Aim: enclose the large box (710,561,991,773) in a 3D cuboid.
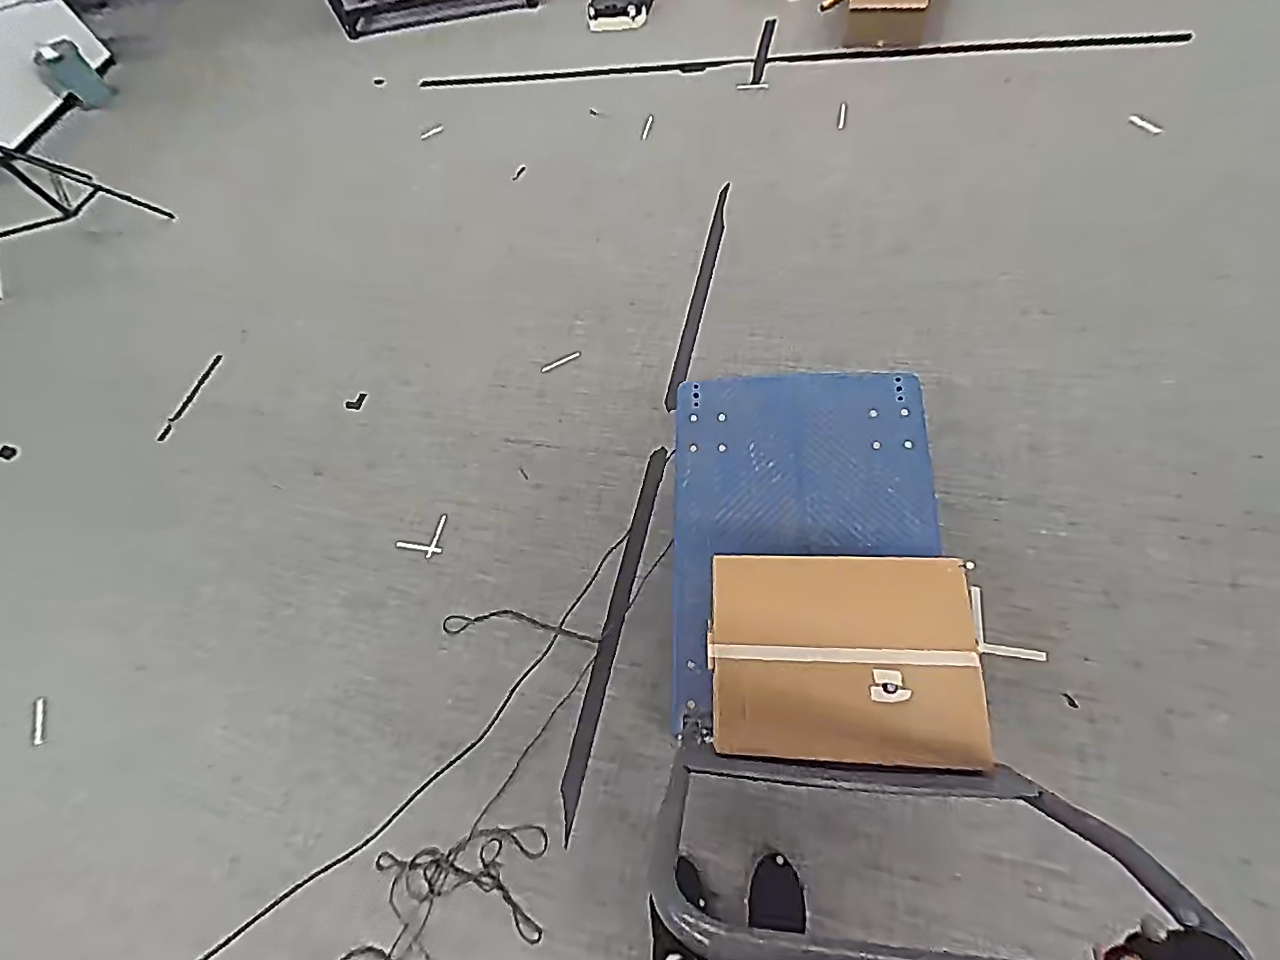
[{"bbox_3d":[0.336,0.329,0.994,0.408,0.320,0.320,-1,73,8],"label":"large box"}]
